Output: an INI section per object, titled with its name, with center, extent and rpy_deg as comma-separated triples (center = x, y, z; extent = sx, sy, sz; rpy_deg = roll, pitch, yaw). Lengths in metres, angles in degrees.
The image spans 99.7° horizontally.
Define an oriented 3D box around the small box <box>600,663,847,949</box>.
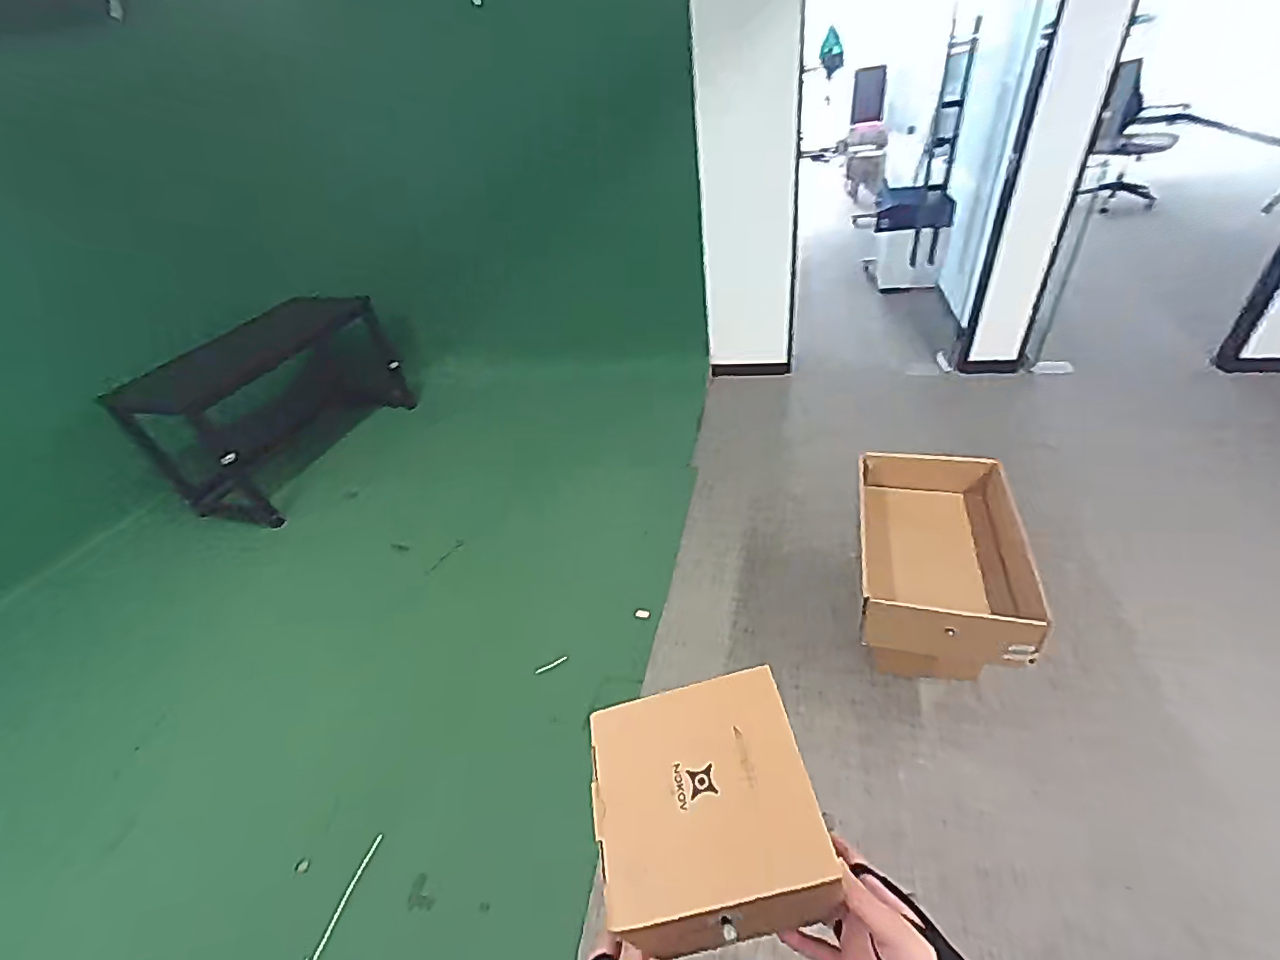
[small box]
center = 0.075, 0.299, 0.493
extent = 0.179, 0.176, 0.168
rpy_deg = -16, 42, 4
